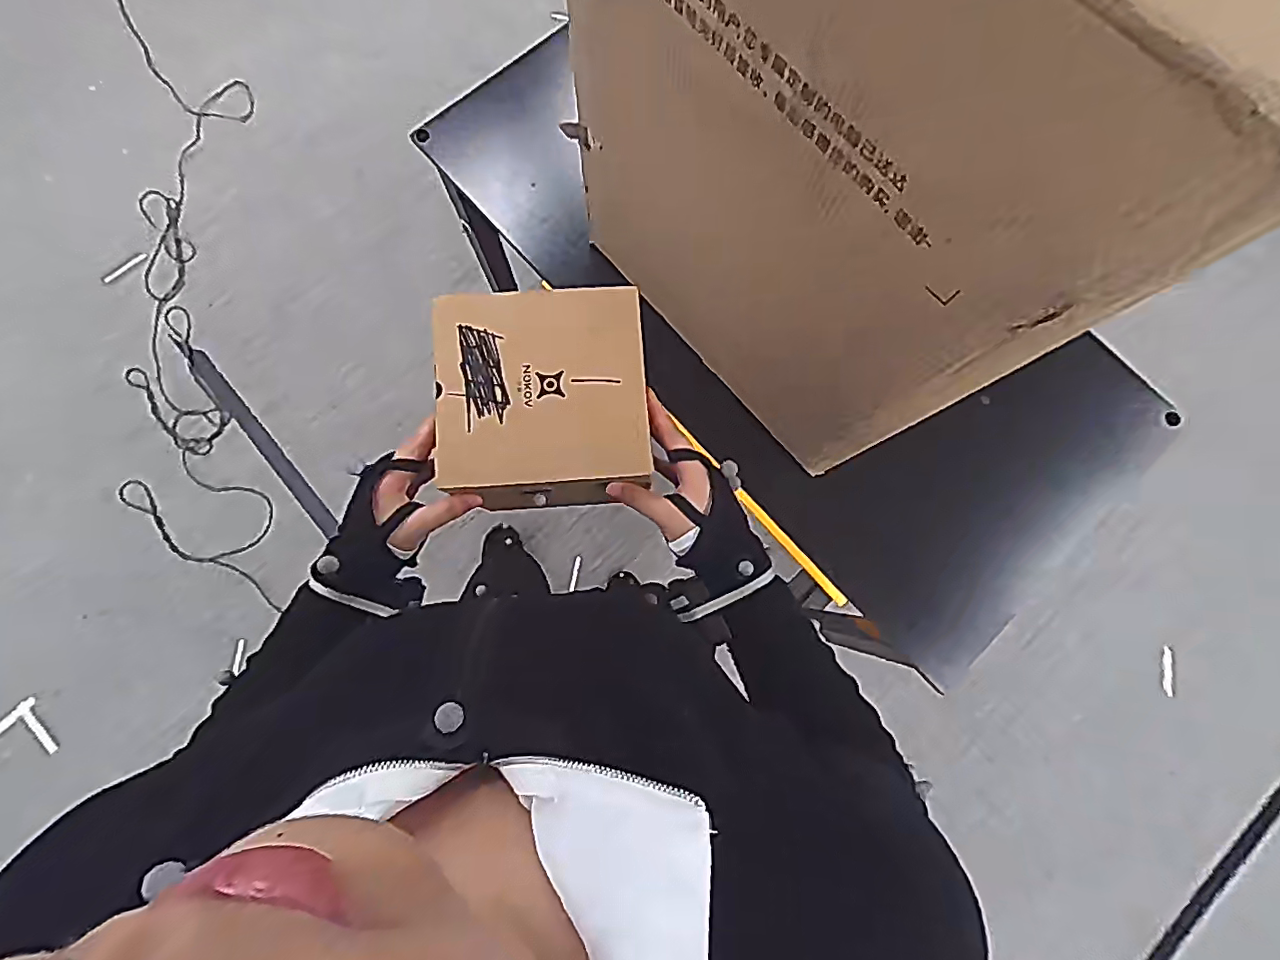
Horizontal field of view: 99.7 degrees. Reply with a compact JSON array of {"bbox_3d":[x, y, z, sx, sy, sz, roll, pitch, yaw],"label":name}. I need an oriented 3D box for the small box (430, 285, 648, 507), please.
[{"bbox_3d":[-0.084,-0.067,0.520,0.179,0.176,0.168,-3,81,-2],"label":"small box"}]
